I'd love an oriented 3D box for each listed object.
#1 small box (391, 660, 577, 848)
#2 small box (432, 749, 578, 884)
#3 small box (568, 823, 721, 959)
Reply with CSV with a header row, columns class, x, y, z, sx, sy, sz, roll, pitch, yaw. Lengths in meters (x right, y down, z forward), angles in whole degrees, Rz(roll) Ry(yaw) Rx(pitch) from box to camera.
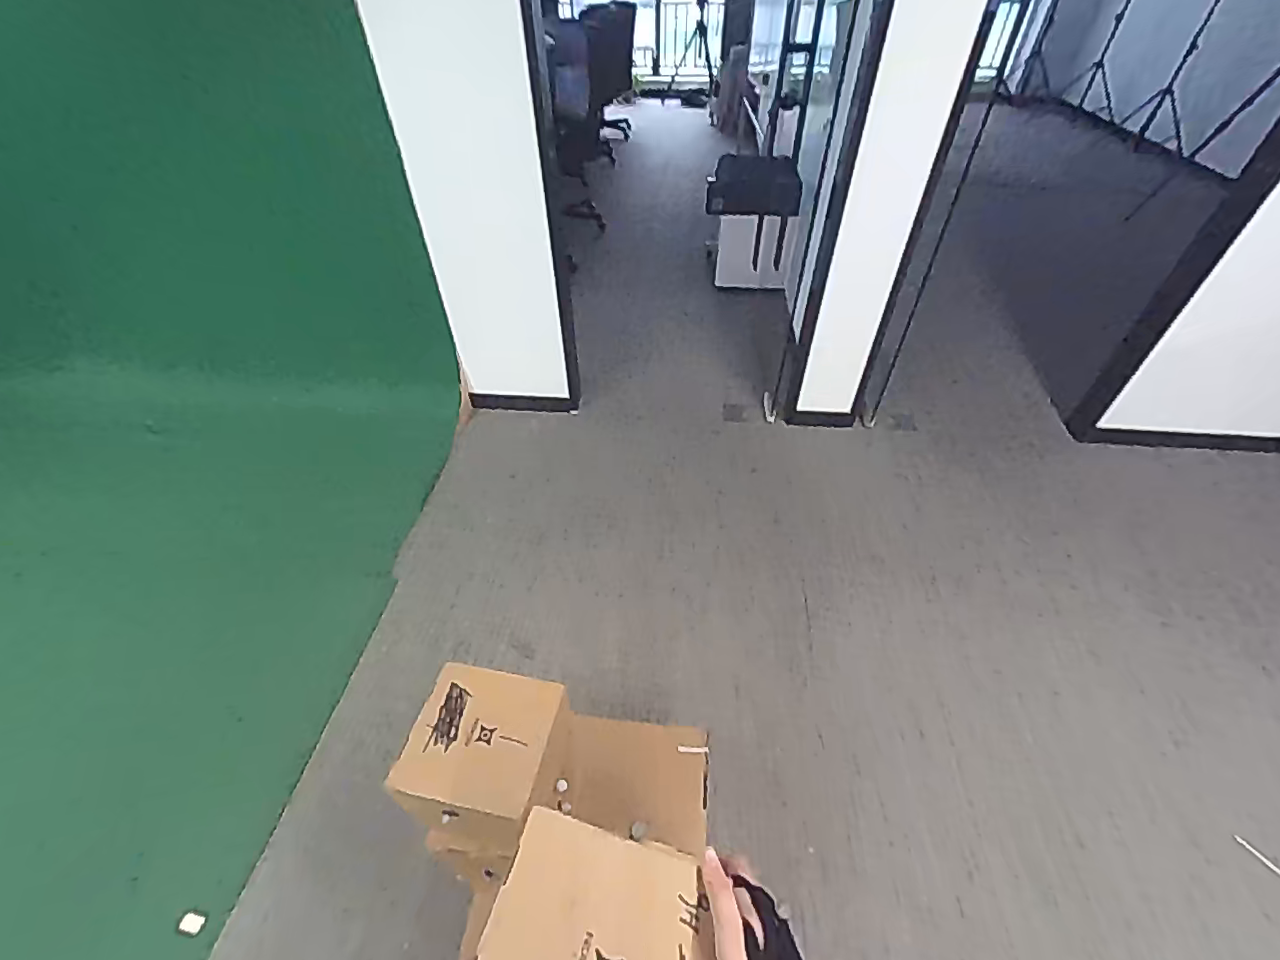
class,x,y,z,sx,sy,sz,roll,pitch,yaw
small box,-0.197,0.375,0.739,0.179,0.176,0.168,9,45,9
small box,-0.195,0.500,0.846,0.168,0.176,0.179,4,44,6
small box,0.008,0.605,0.731,0.168,0.176,0.179,10,45,11
